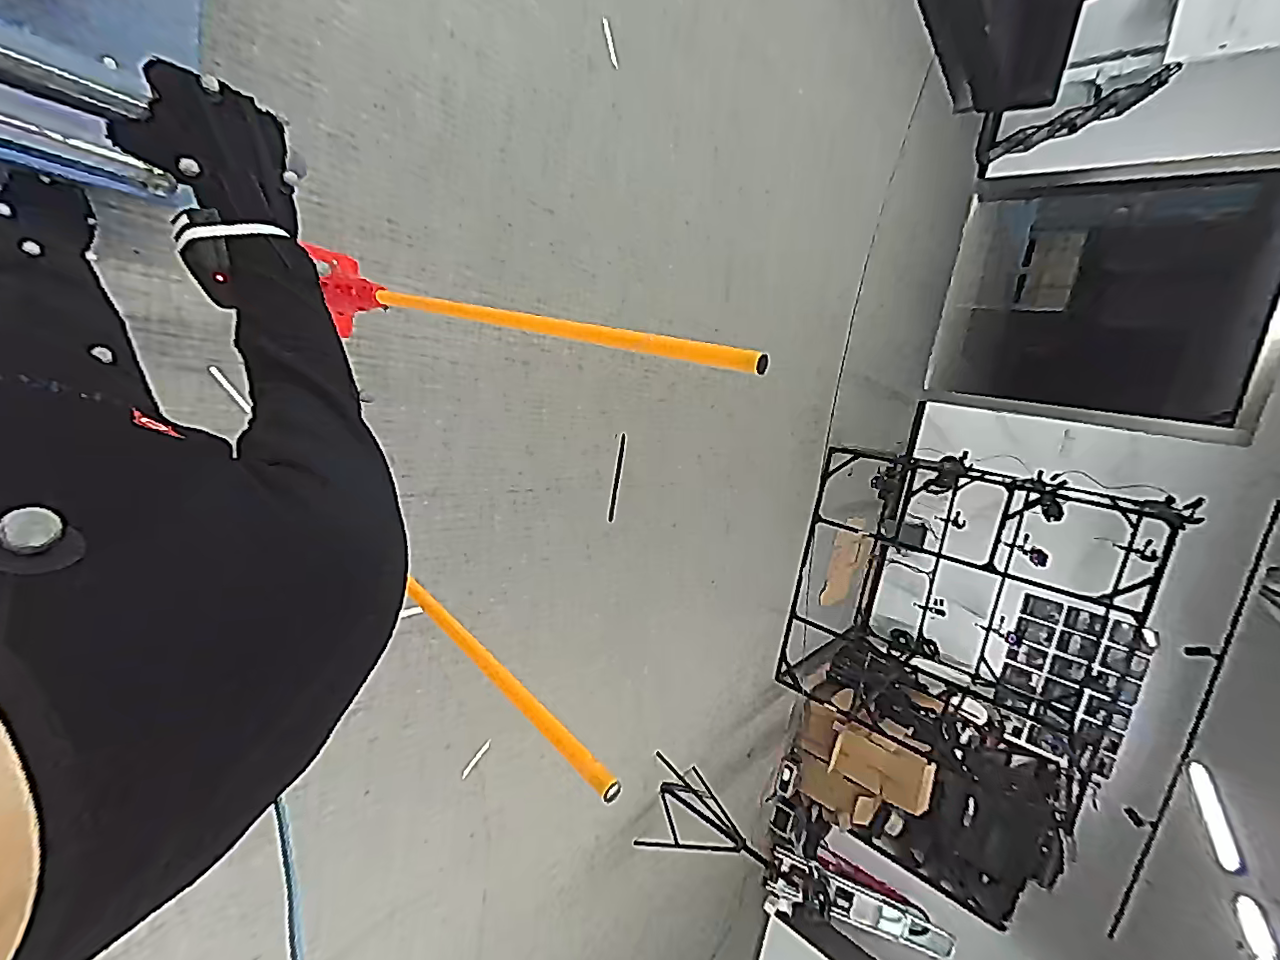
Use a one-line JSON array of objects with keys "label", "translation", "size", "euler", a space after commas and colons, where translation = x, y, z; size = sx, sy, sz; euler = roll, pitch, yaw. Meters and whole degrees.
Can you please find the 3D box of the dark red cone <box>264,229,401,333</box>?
[{"label": "dark red cone", "translation": [-0.639, -0.424, 1.174], "size": [0.201, 0.394, 0.202], "euler": [-2, 106, -53]}]
